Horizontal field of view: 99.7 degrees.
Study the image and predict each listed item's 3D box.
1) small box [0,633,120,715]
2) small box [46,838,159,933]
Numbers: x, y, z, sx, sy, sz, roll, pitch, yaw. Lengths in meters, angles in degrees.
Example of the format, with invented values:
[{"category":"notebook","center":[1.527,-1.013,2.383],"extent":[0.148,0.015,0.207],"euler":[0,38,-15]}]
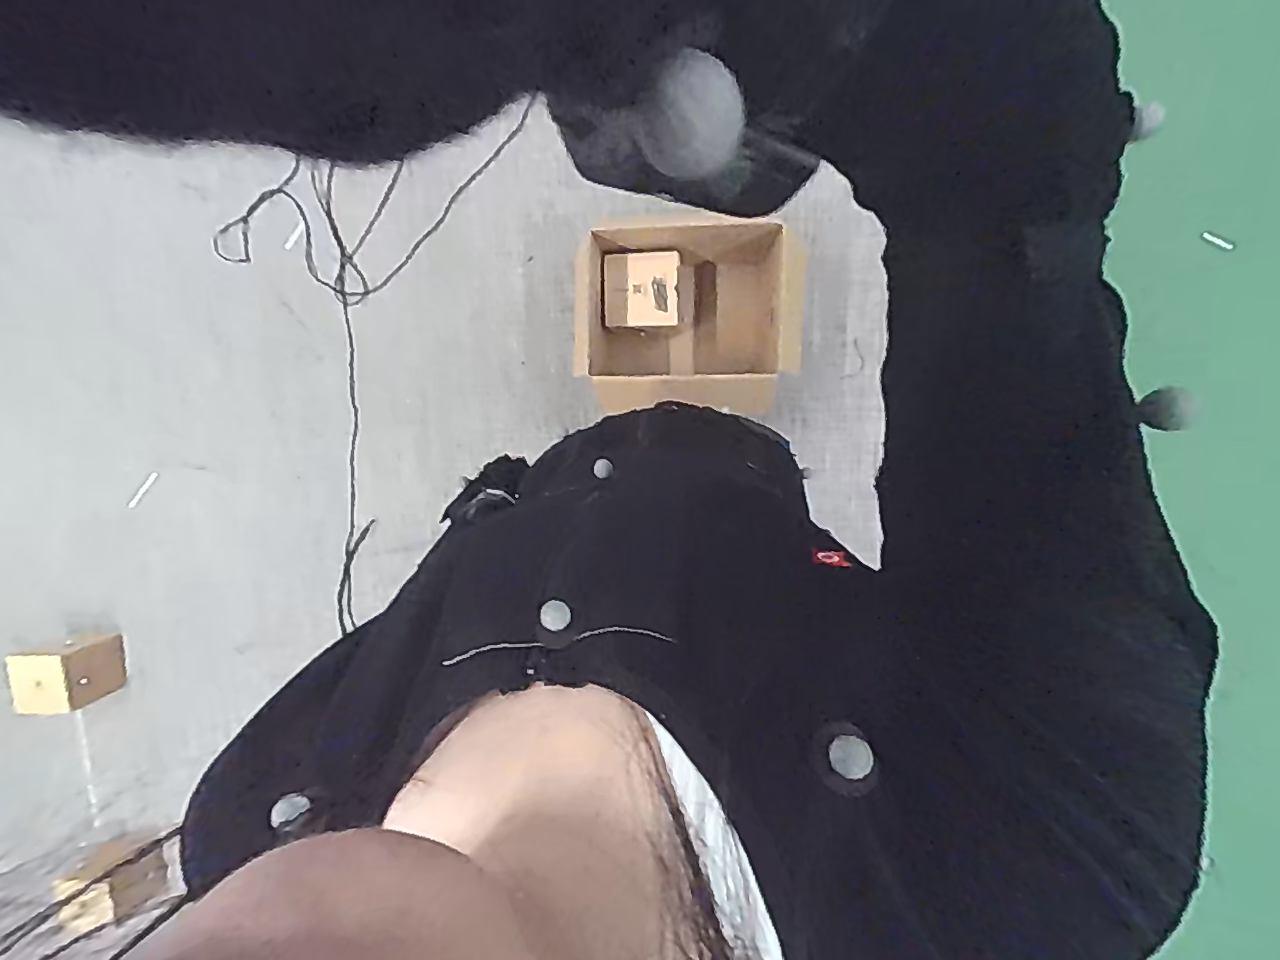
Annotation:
[{"category":"small box","center":[-1.684,0.558,1.576],"extent":[0.168,0.176,0.179],"euler":[-2,98,3]},{"category":"small box","center":[-1.642,1.237,1.660],"extent":[0.179,0.176,0.168],"euler":[-2,97,4]}]
